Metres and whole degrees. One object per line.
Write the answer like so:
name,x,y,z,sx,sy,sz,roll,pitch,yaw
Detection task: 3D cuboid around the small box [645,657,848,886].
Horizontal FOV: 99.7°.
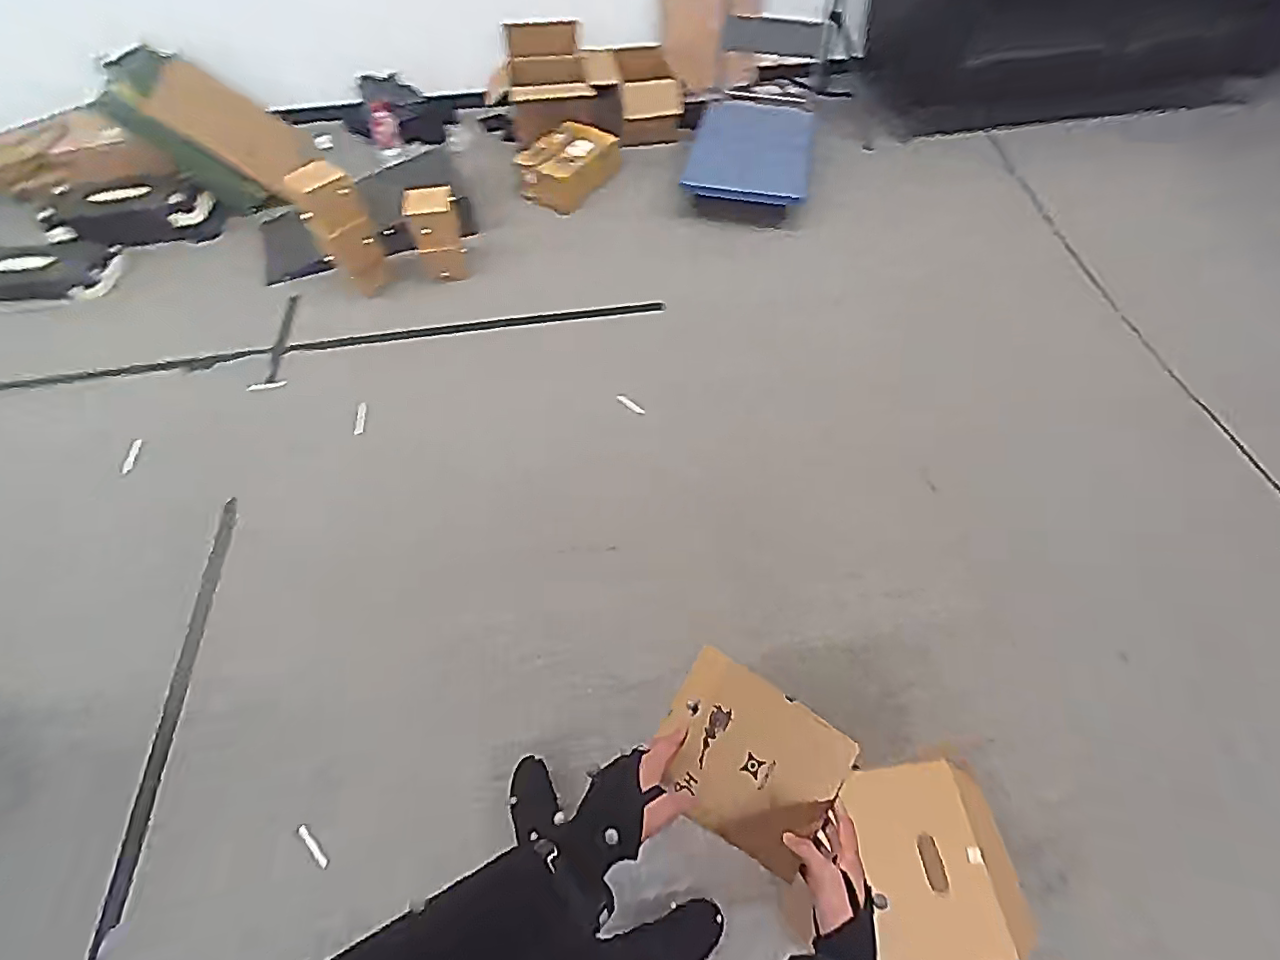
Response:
small box,0.121,0.346,0.684,0.179,0.176,0.168,31,81,4
